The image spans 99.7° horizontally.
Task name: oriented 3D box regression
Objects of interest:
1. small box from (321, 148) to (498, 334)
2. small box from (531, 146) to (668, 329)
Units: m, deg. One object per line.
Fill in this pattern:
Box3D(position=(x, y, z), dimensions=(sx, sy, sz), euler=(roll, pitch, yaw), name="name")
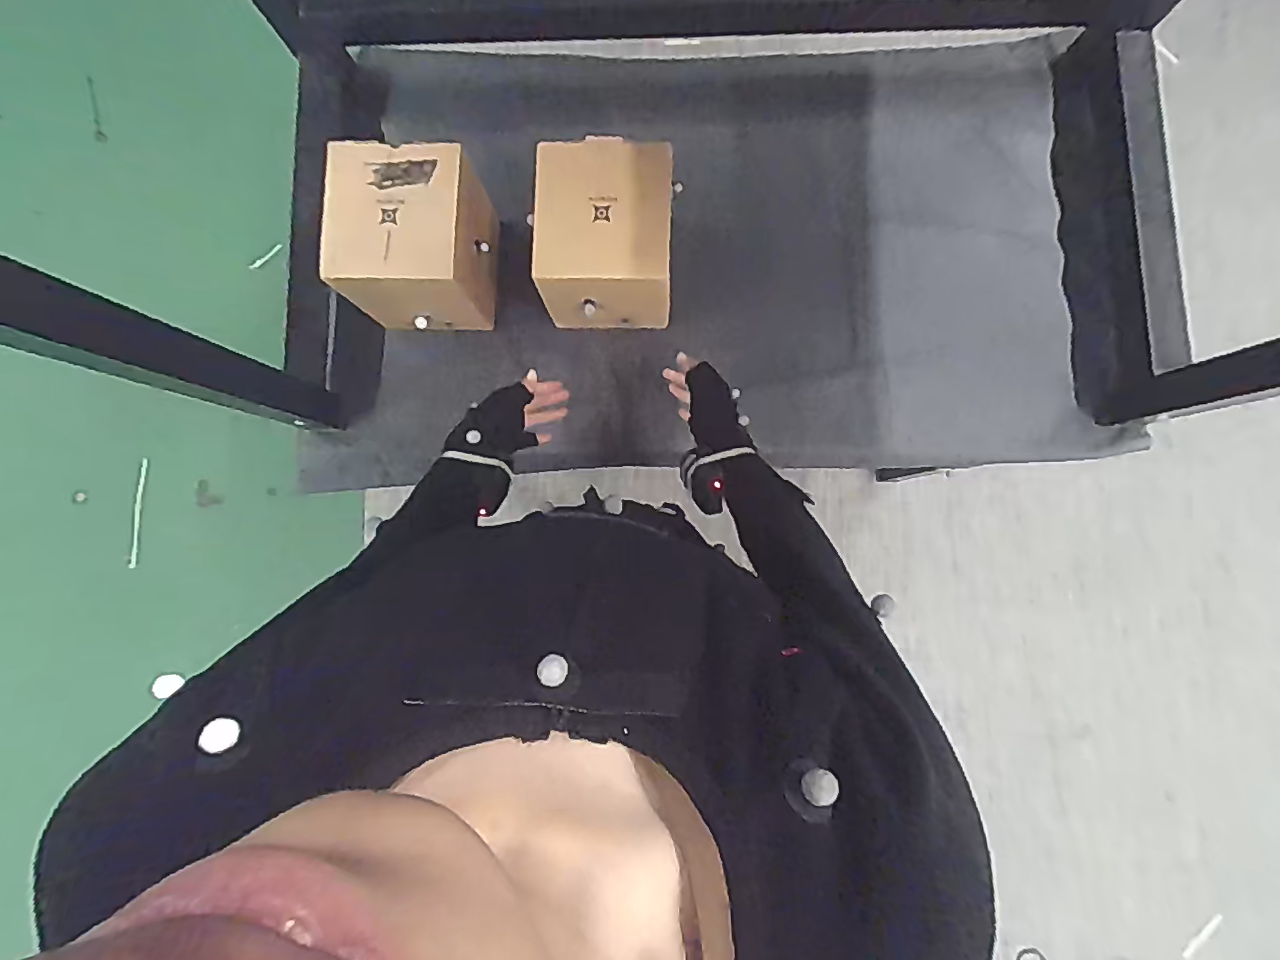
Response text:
Box3D(position=(-0.299, -0.314, 0.737), dimensions=(0.168, 0.176, 0.179), euler=(1, 85, 2), name="small box")
Box3D(position=(-0.046, -0.314, 0.732), dimensions=(0.168, 0.176, 0.179), euler=(1, 84, 1), name="small box")
